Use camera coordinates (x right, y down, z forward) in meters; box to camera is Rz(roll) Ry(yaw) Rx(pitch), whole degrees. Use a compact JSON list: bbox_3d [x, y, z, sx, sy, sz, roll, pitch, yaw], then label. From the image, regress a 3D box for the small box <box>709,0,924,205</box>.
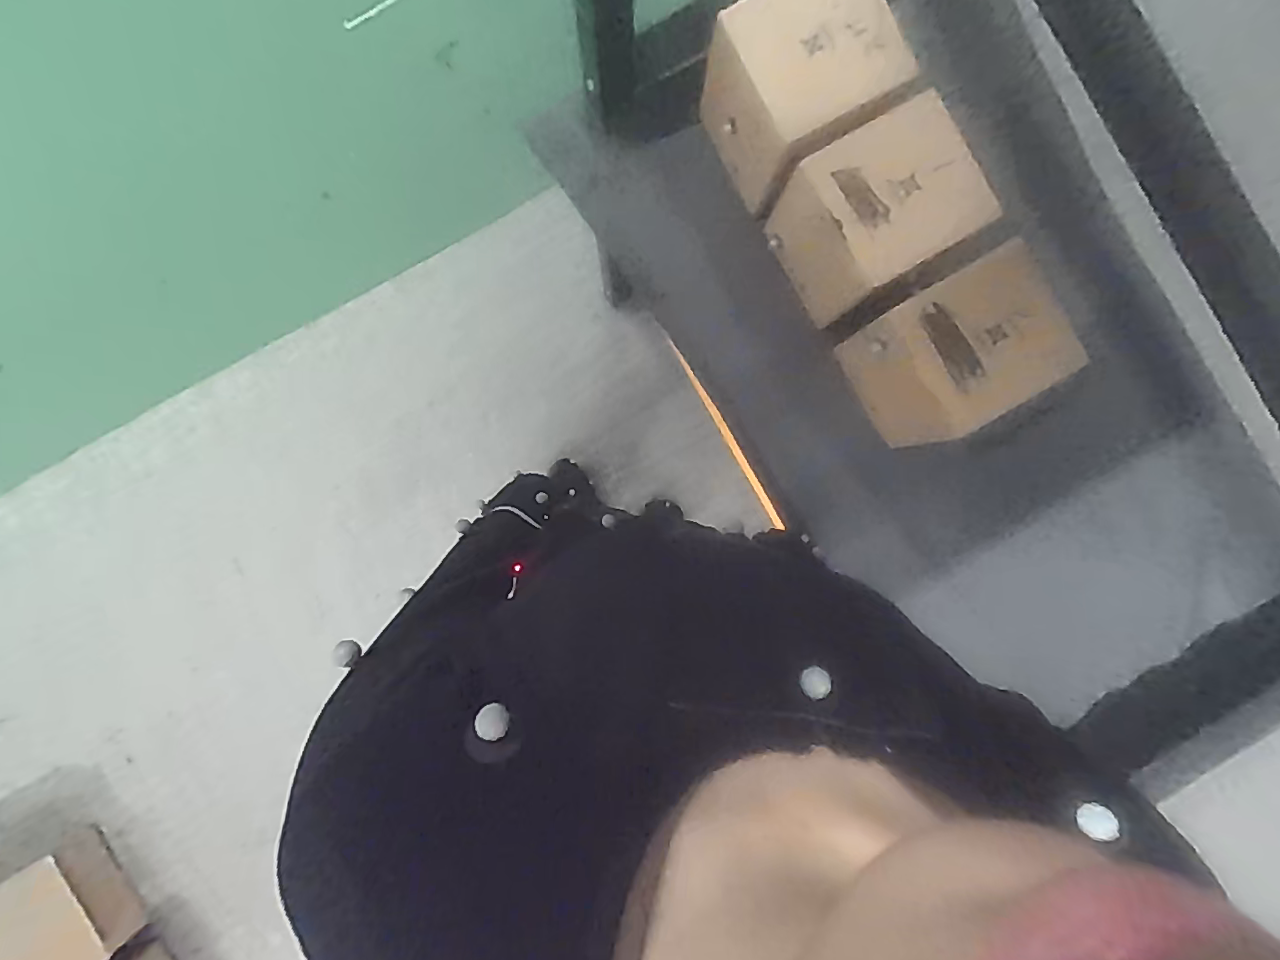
[{"bbox_3d":[0.197,-0.481,0.668,0.179,0.176,0.168,-28,92,-1],"label":"small box"}]
